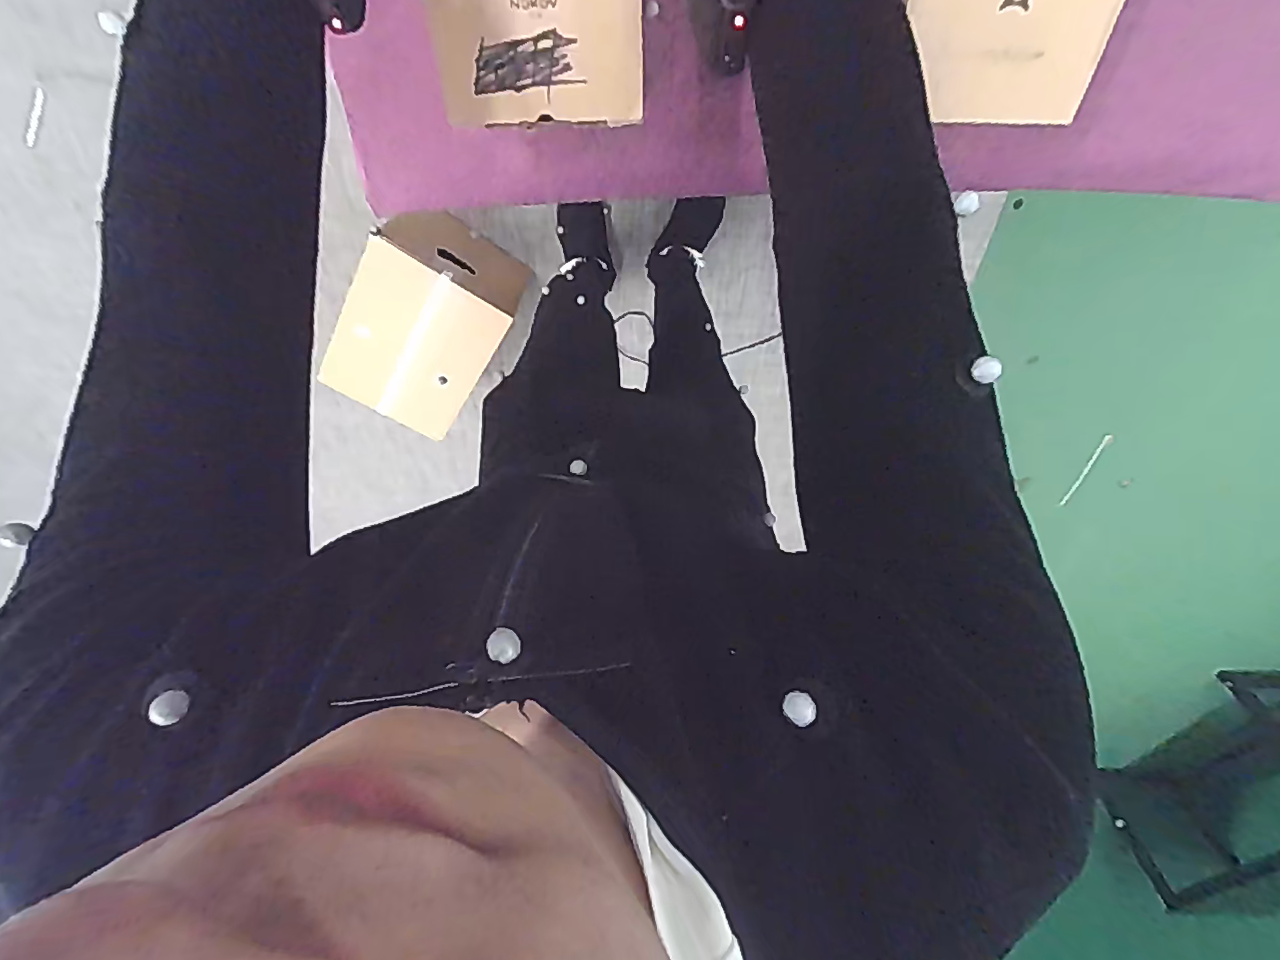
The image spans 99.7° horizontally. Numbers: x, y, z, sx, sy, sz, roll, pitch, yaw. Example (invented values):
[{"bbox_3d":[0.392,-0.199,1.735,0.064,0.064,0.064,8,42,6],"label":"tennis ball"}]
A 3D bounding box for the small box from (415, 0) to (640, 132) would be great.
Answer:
[{"bbox_3d":[-0.083,-0.406,0.453,0.168,0.176,0.179,-2,128,0],"label":"small box"}]
